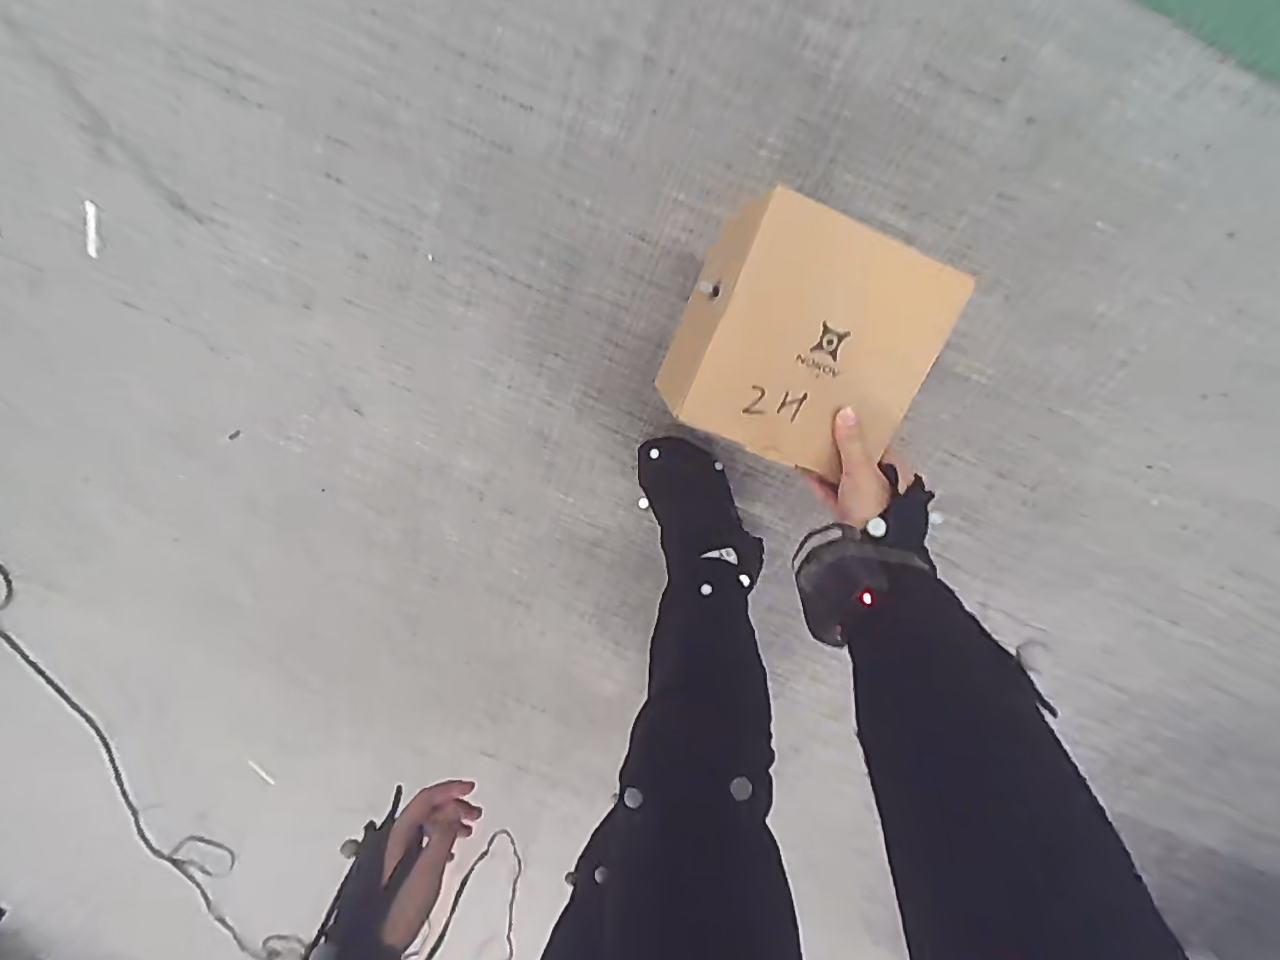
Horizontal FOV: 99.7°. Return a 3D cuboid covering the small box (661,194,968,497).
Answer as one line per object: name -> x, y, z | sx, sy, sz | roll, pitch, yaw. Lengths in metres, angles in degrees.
small box -> 0.127, -0.114, 0.474 | 0.168, 0.176, 0.179 | 20, 106, -10
